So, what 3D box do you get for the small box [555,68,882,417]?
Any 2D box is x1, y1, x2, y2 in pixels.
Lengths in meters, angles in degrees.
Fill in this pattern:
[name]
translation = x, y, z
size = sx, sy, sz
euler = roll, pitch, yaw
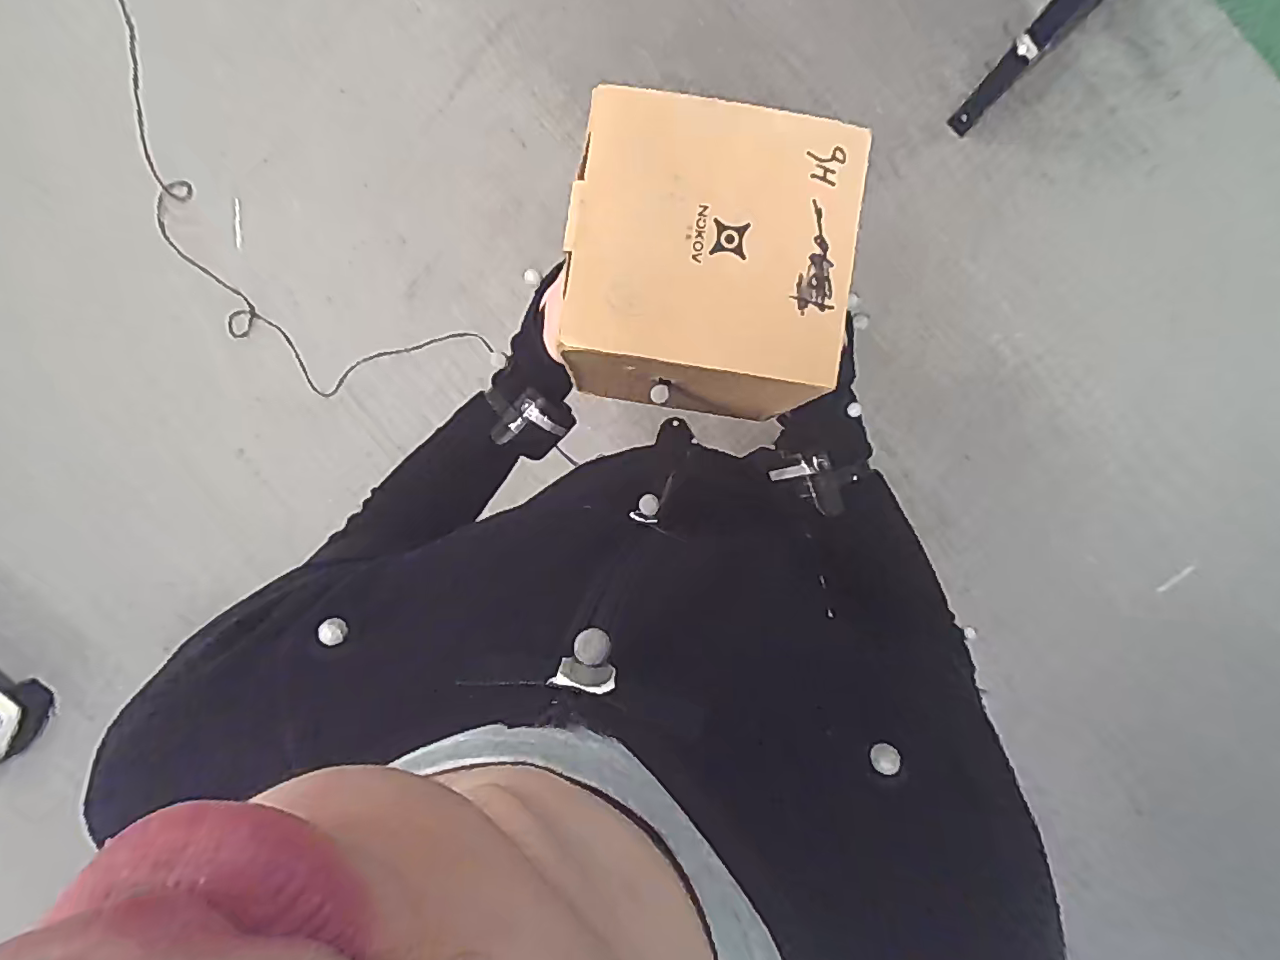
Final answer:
[small box]
translation = 0.045, -0.146, 0.393
size = 0.179, 0.176, 0.168
euler = 7, 88, -2
